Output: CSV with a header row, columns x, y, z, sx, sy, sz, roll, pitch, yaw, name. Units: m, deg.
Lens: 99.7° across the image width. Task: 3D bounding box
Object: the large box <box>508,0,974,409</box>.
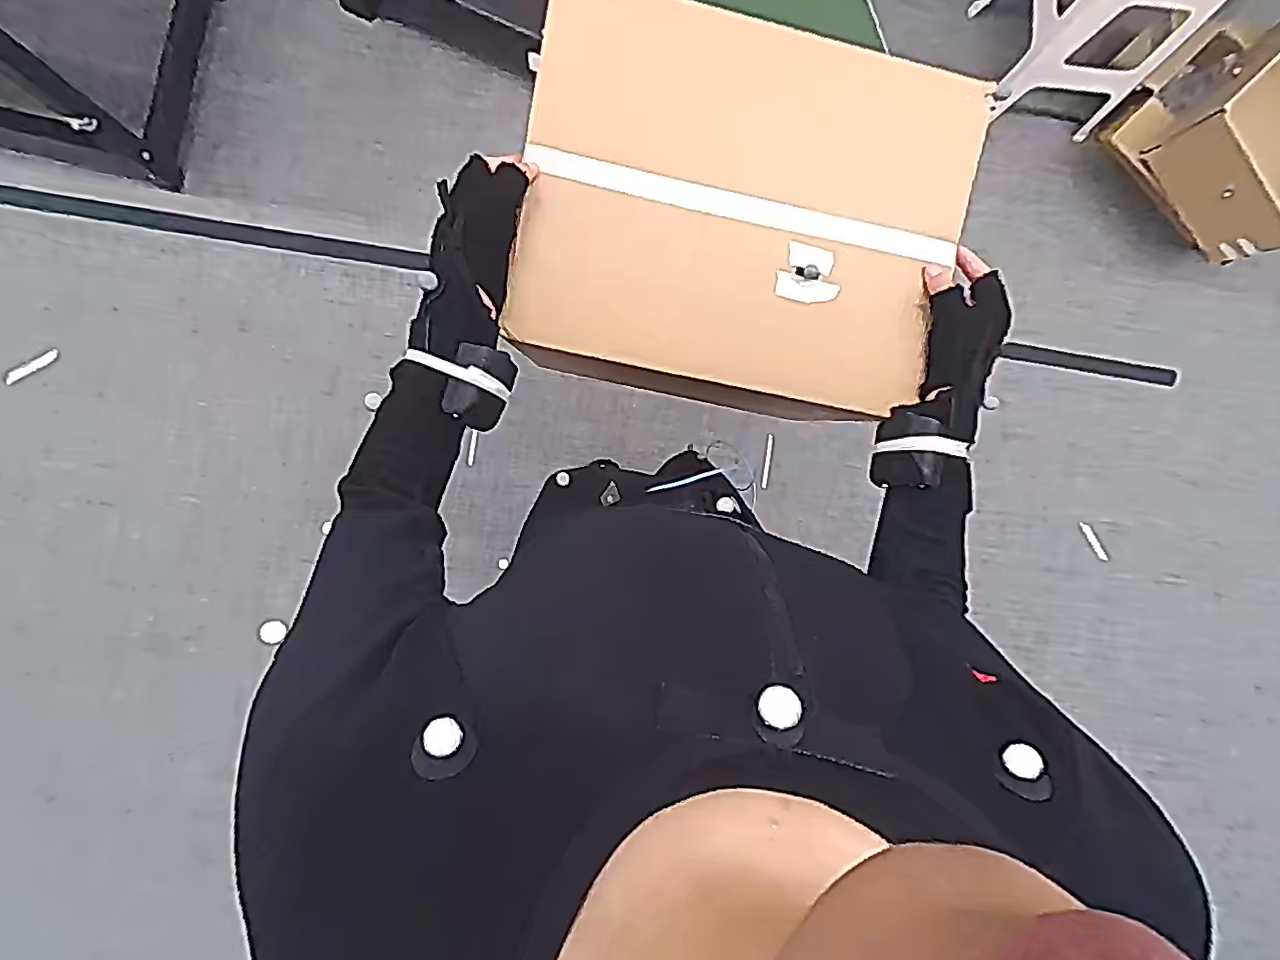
x,y,z,sx,sy,sz,roll,pitch,yaw,name
0.083,-0.274,0.653,0.408,0.320,0.320,11,97,-6,large box
